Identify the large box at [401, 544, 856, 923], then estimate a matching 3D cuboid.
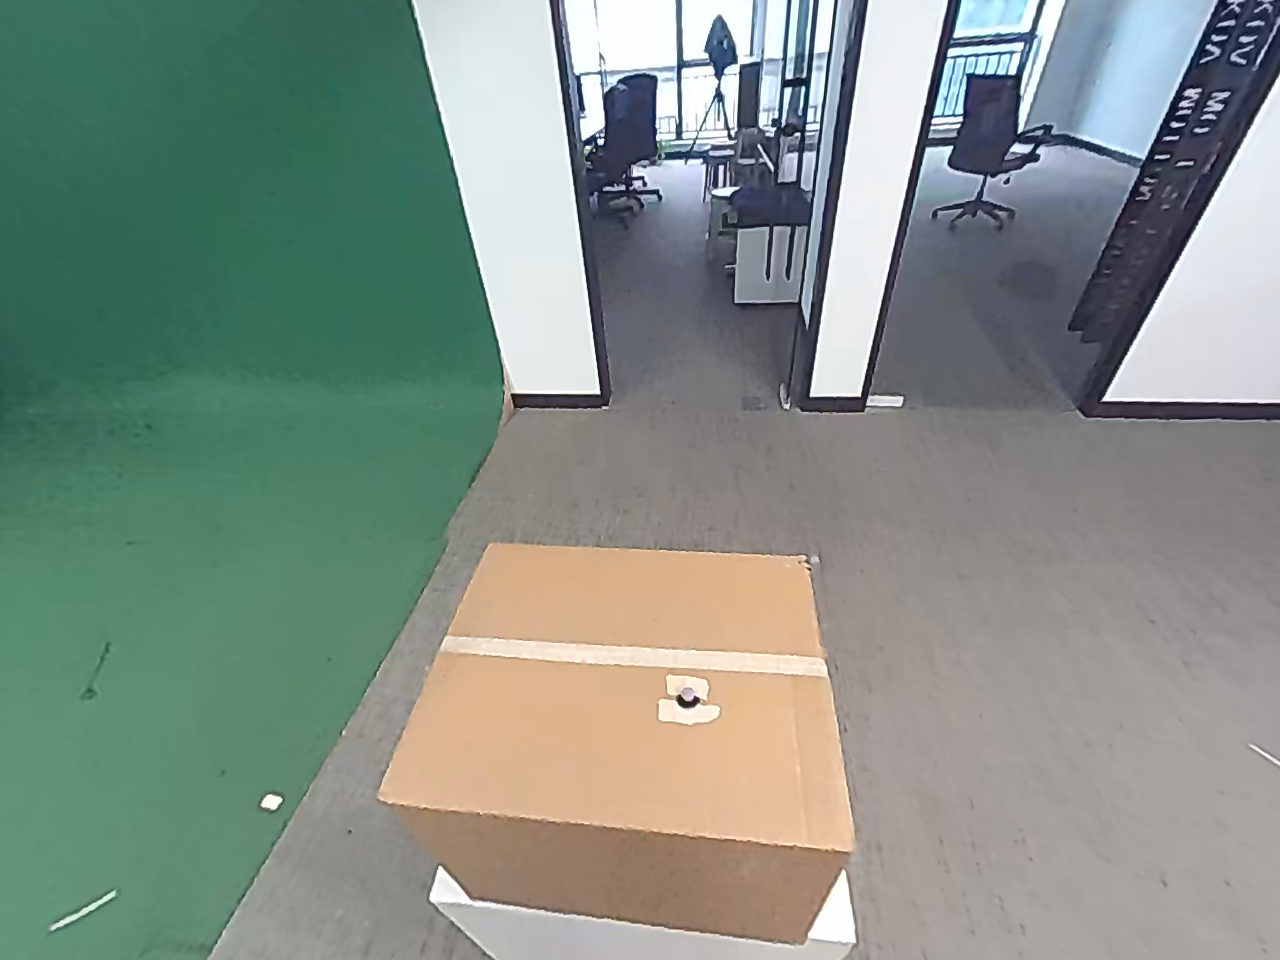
[{"bbox_3d":[0.001,0.300,0.668,0.408,0.320,0.320,2,40,6],"label":"large box"}]
